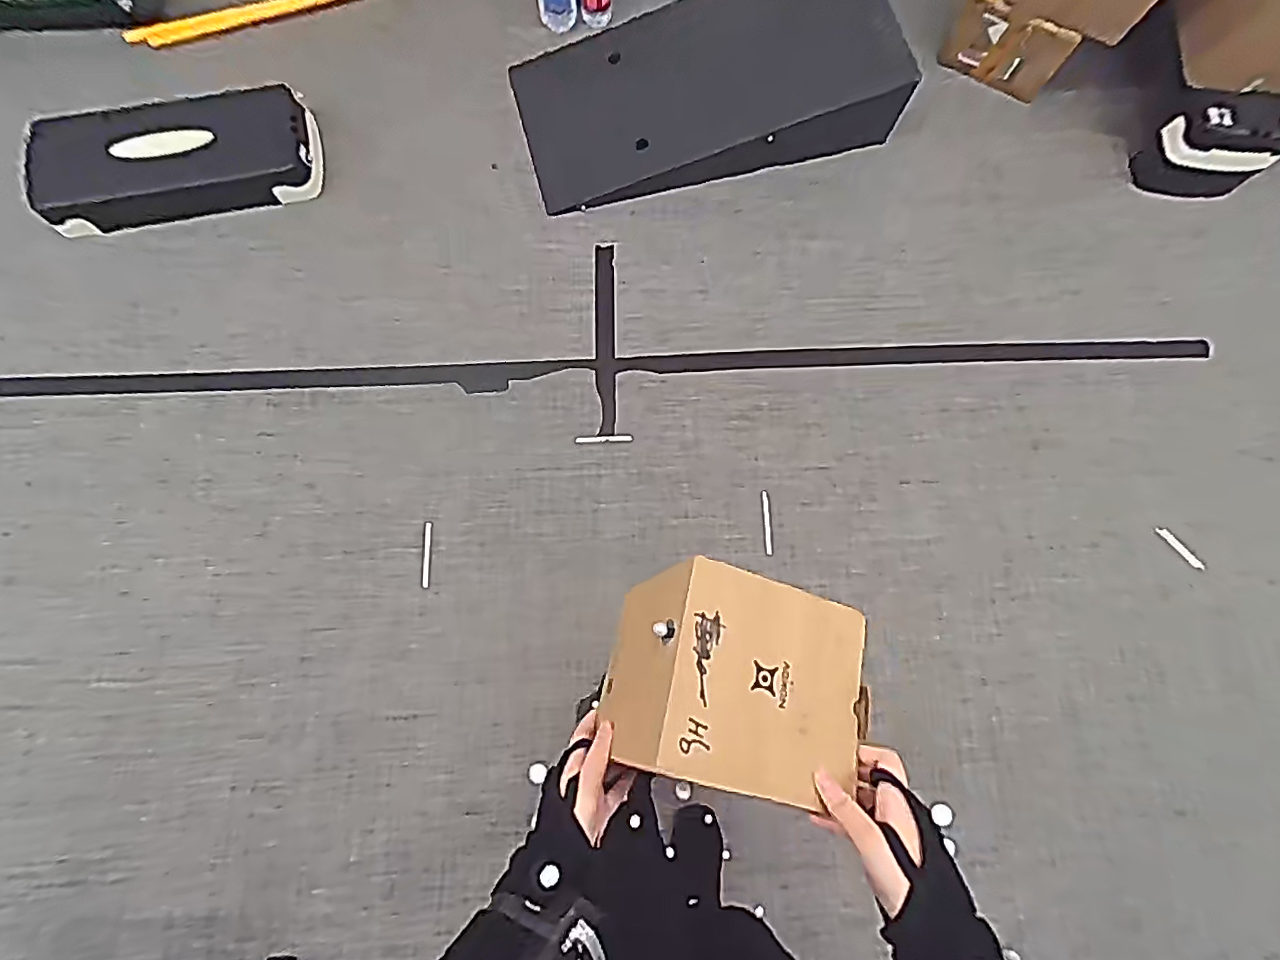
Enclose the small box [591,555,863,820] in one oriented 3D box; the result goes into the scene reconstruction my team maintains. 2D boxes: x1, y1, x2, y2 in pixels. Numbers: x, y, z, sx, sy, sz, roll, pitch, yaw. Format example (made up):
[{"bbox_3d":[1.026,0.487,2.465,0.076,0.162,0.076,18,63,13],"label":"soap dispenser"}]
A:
[{"bbox_3d":[0.075,0.190,0.496,0.179,0.176,0.168,21,60,-14],"label":"small box"}]
